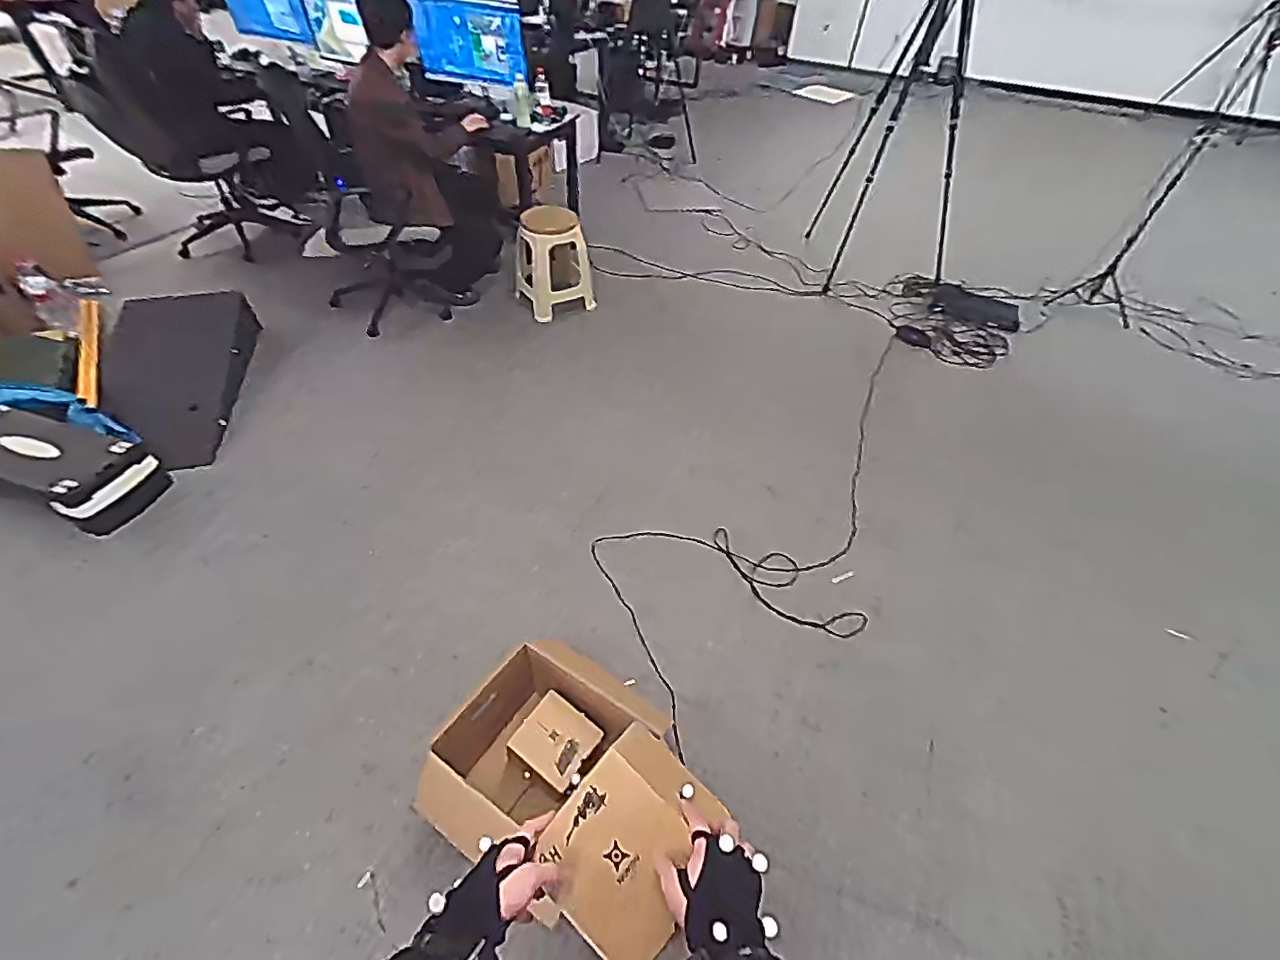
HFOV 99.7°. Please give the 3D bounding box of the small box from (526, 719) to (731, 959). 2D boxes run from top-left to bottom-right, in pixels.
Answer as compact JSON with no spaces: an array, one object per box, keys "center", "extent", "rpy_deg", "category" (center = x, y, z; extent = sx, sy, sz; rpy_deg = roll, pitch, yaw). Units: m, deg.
[{"center":[-0.002,0.431,0.674],"extent":[0.179,0.176,0.168],"rpy_deg":[40,87,17],"category":"small box"}]
